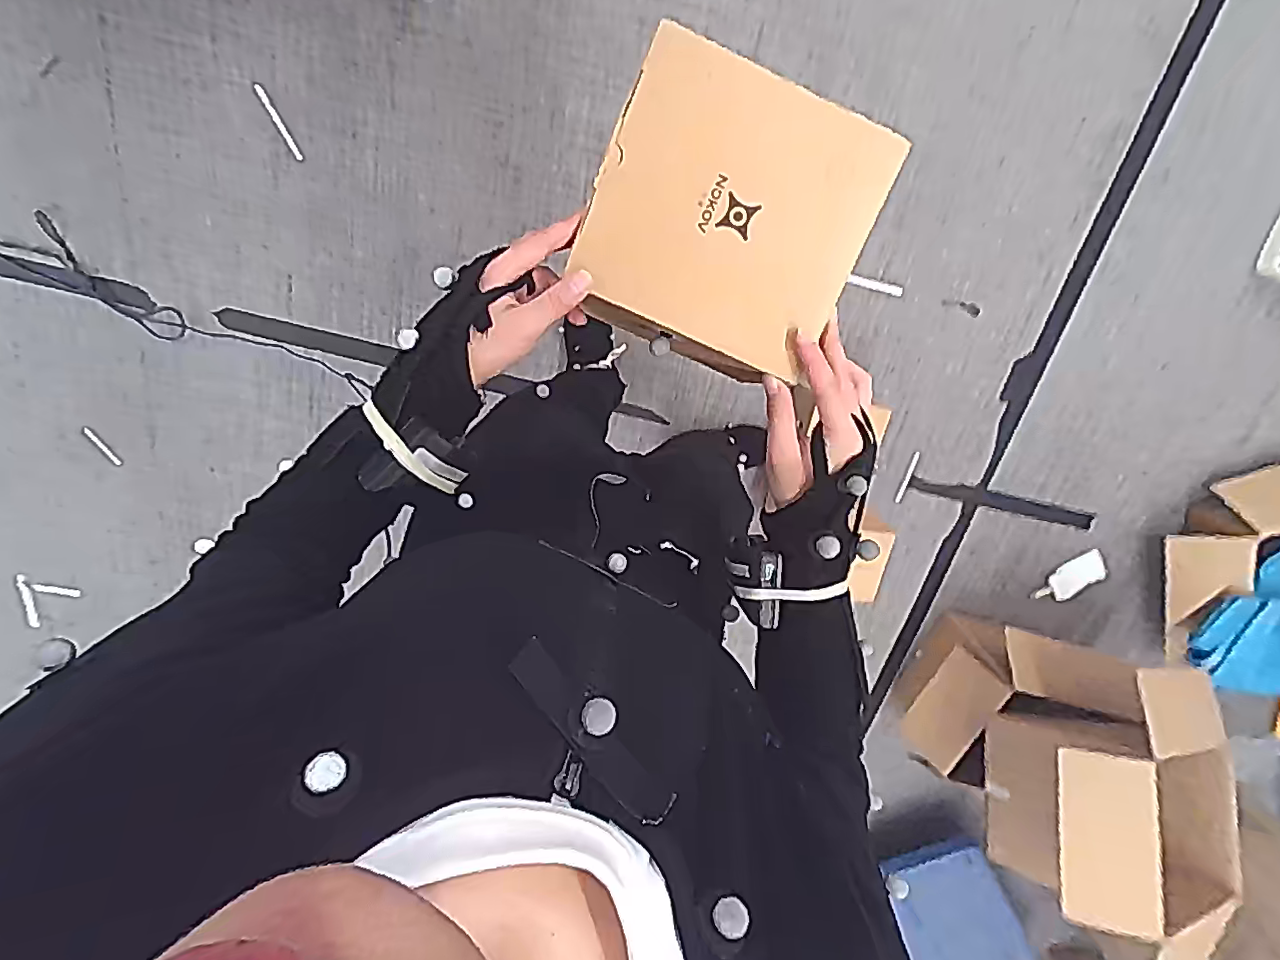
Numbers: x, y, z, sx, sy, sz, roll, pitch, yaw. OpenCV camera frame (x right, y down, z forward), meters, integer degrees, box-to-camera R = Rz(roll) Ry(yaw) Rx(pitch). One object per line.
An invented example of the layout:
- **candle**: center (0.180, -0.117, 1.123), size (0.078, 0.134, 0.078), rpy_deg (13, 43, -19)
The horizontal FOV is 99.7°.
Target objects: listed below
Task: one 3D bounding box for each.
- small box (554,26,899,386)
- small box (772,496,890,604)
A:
- **small box**: center (0.054, -0.185, 0.425), size (0.179, 0.176, 0.168), rpy_deg (22, 100, -4)
- **small box**: center (0.400, 0.144, 1.171), size (0.179, 0.176, 0.168), rpy_deg (7, 112, -4)
